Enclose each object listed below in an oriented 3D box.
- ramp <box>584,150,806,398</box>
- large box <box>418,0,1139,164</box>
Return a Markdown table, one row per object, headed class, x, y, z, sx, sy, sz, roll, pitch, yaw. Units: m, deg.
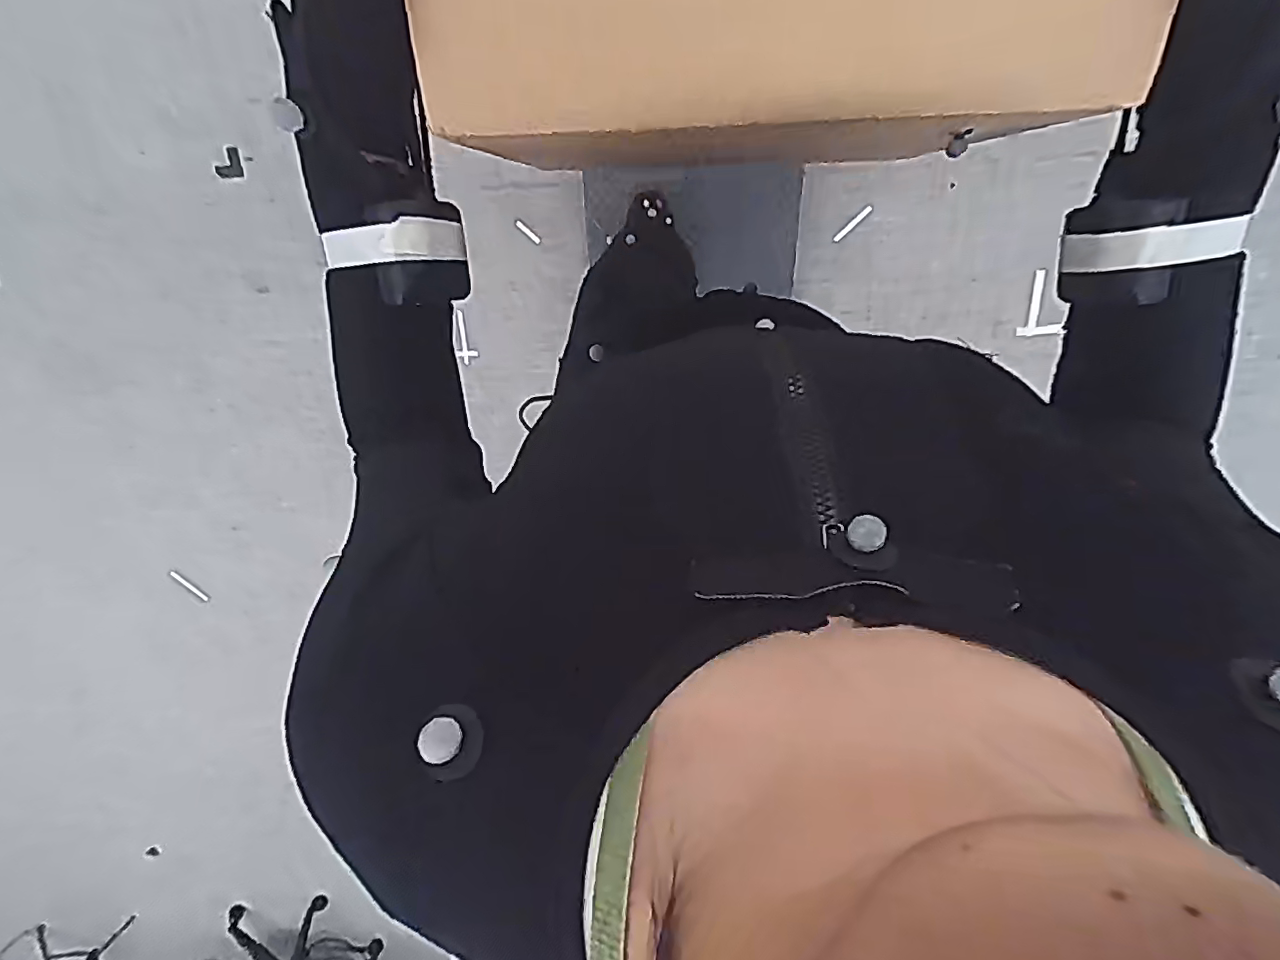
| class | x | y | z | sx | sy | sz | roll | pitch | yaw |
| --- | --- | --- | --- | --- | --- | --- | --- | --- | --- |
| ramp | 0.121 | -0.658 | 1.223 | 0.509 | 0.206 | 0.991 | -3 | 111 | 3 |
| large box | 0.077 | -0.420 | 0.386 | 0.408 | 0.320 | 0.320 | 0 | 116 | 3 |
